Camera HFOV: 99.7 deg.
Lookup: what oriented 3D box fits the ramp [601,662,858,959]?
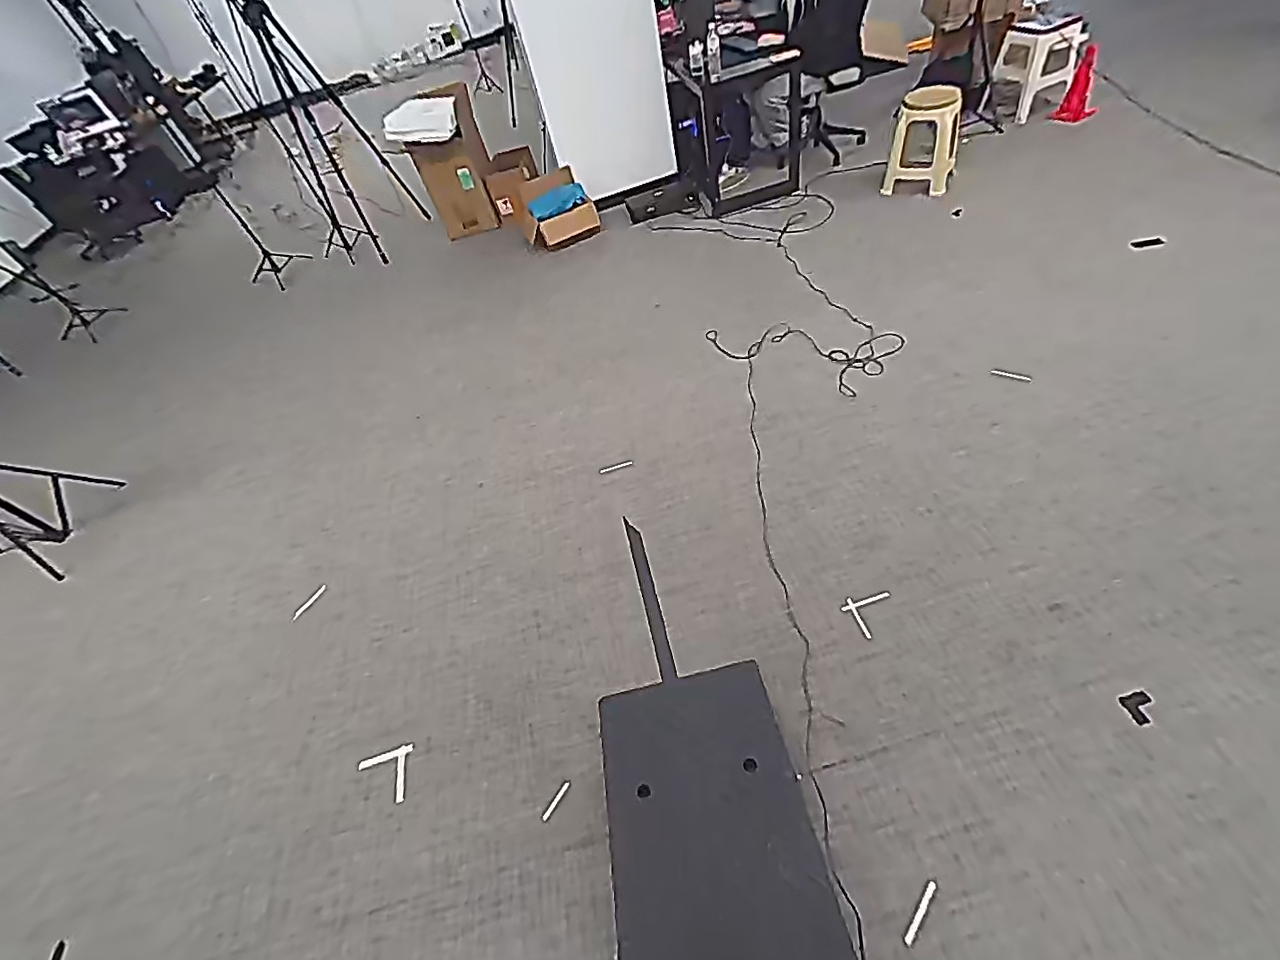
[{"bbox_3d":[0.175,0.905,1.236,0.509,0.206,0.991,-17,47,2],"label":"ramp"}]
